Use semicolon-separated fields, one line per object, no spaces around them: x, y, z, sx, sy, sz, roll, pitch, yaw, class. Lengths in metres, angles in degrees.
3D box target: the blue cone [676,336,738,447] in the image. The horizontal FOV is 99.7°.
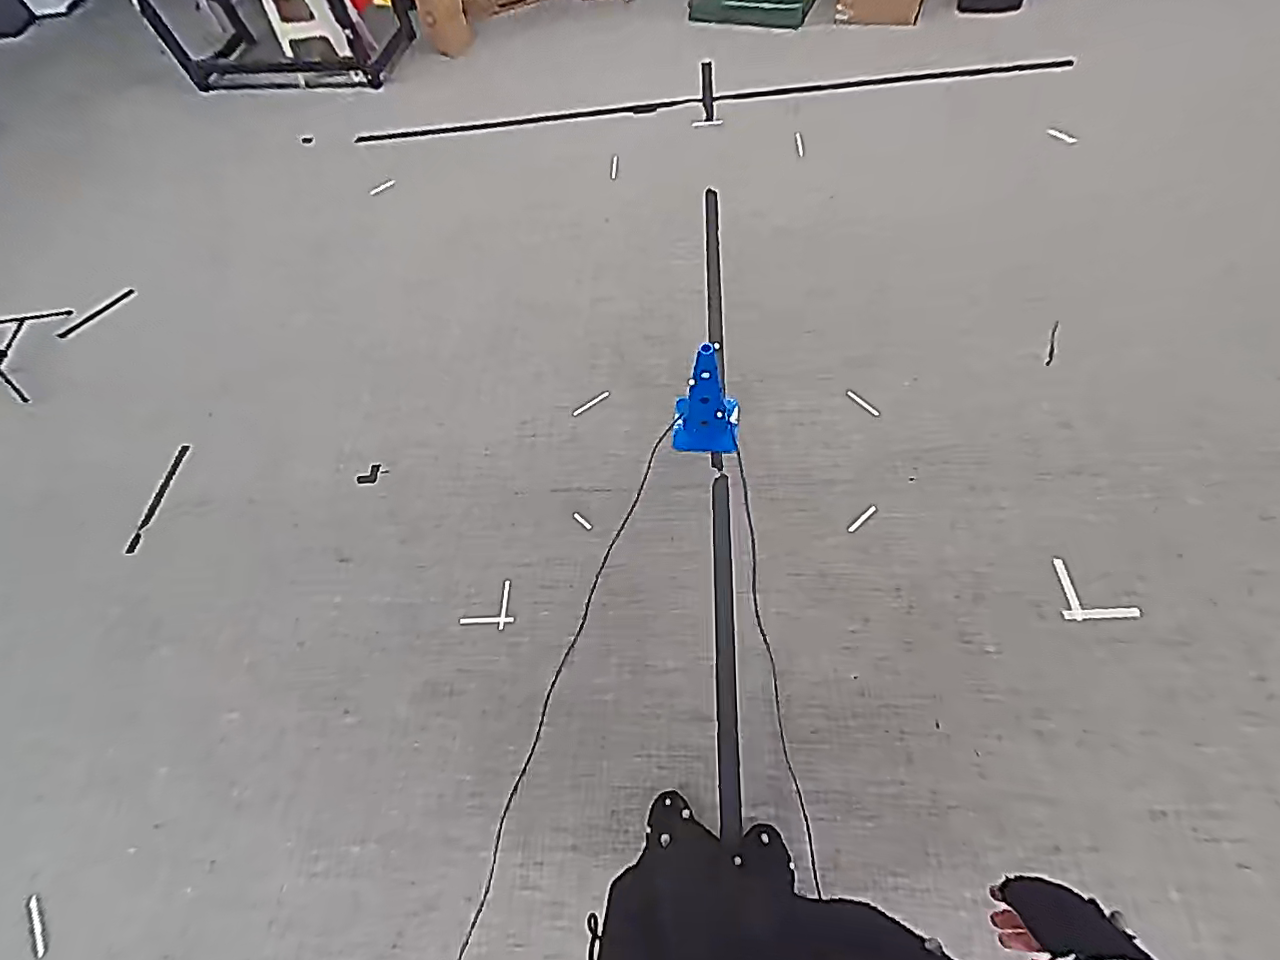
0.186;-0.260;1.531;0.193;0.380;0.192;1;63;8;blue cone
